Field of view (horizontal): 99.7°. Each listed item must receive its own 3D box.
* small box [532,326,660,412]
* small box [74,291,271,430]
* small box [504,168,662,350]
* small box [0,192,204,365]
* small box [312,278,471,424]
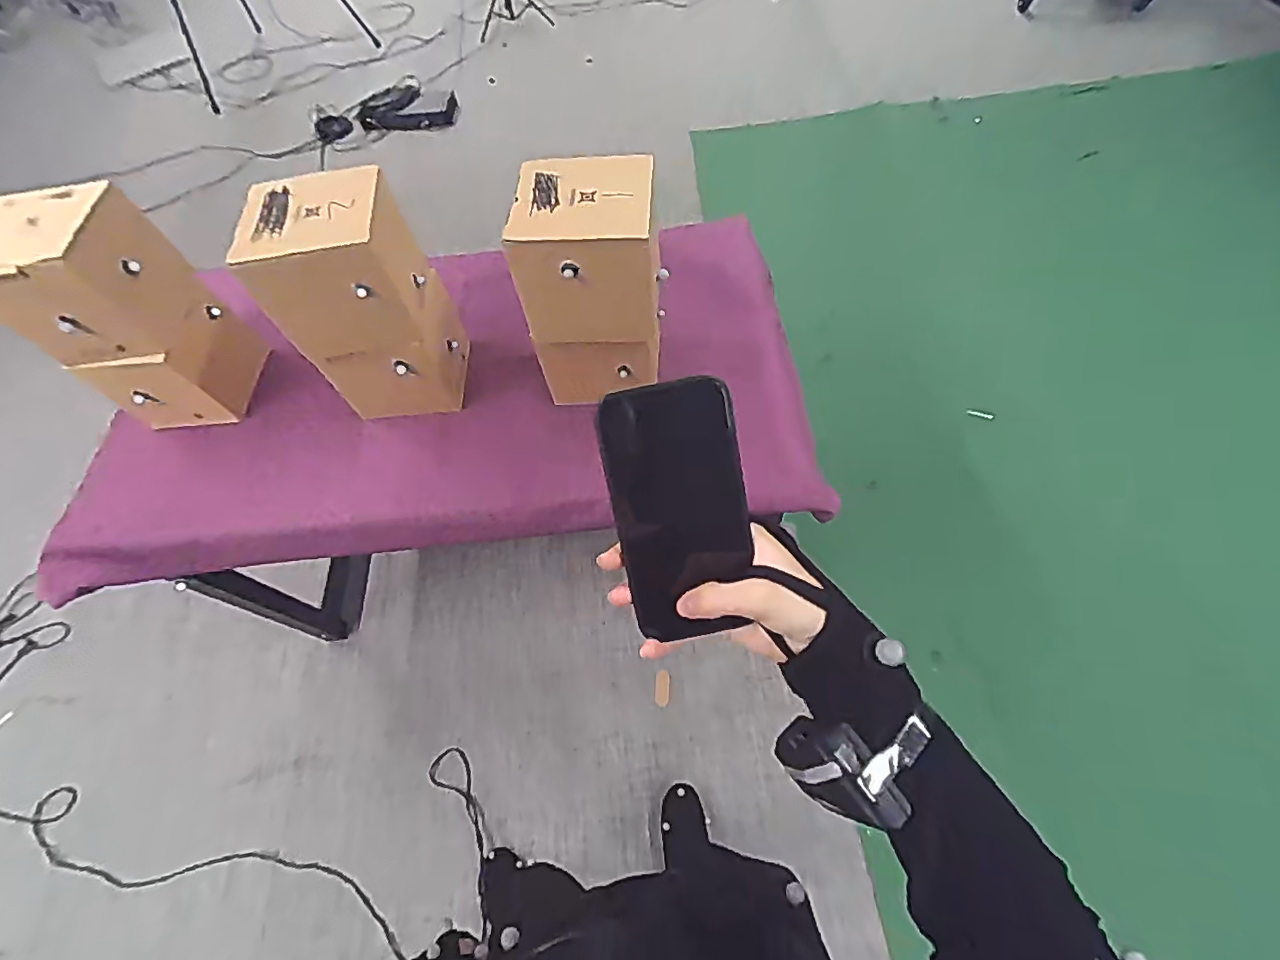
[{"bbox_3d":[-0.059,-0.224,0.886,0.179,0.176,0.168,1,60,7],"label":"small box"},{"bbox_3d":[-0.789,-0.198,0.939,0.168,0.176,0.179,-4,60,3],"label":"small box"},{"bbox_3d":[-0.064,-0.294,0.737,0.179,0.176,0.168,1,60,5],"label":"small box"},{"bbox_3d":[-0.803,-0.287,0.802,0.168,0.176,0.179,-8,60,0],"label":"small box"},{"bbox_3d":[-0.399,-0.210,0.908,0.179,0.176,0.168,-4,59,3],"label":"small box"}]
